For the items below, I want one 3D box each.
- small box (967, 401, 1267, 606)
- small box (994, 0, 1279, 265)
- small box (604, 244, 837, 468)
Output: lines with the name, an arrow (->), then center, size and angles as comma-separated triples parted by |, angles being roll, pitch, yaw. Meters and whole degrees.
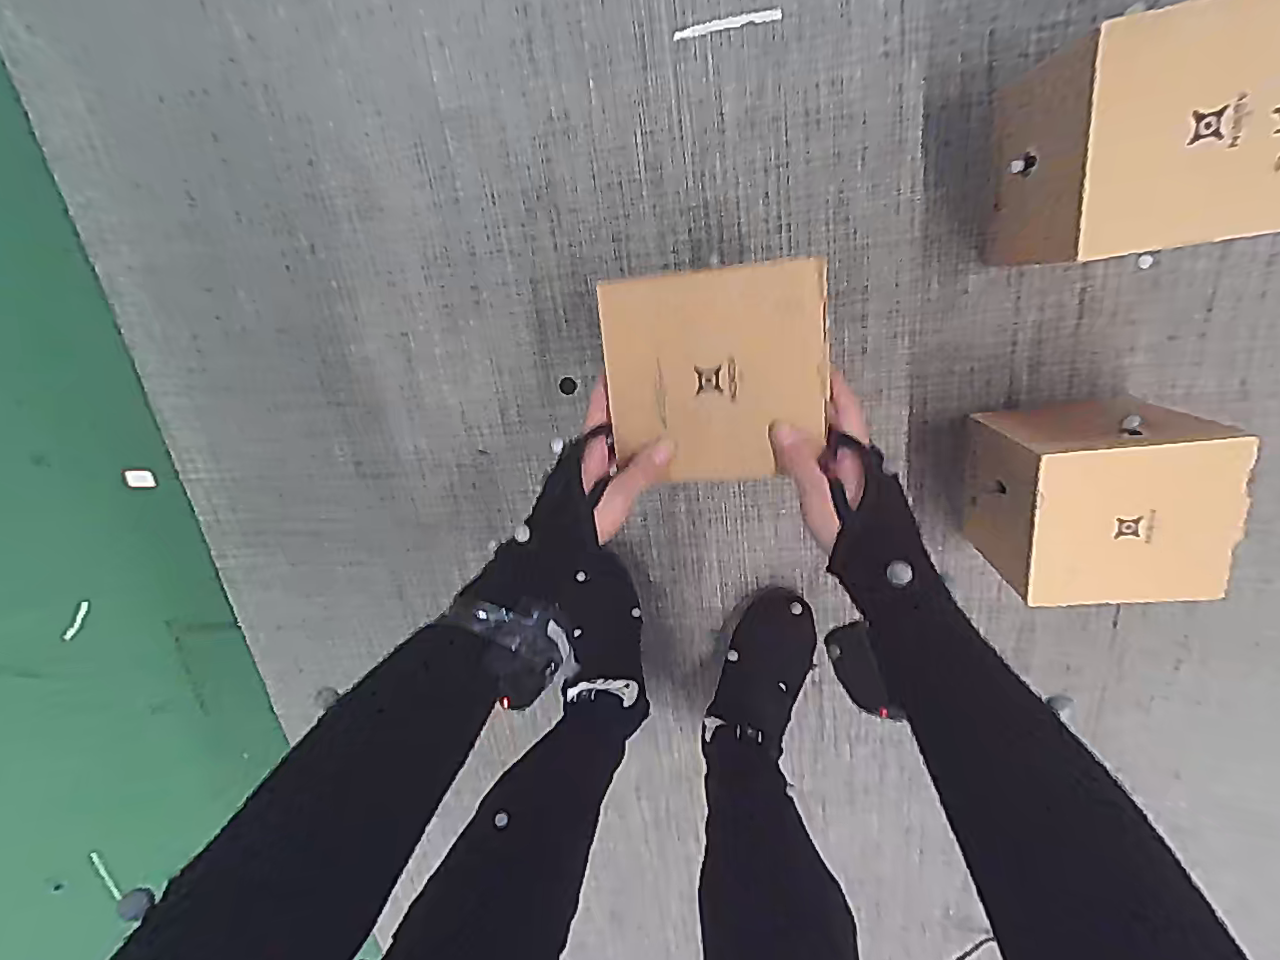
small box -> 0.476, 0.017, 0.577 | 0.179, 0.176, 0.168 | -5, 108, 10
small box -> 0.441, -0.289, 0.472 | 0.179, 0.176, 0.168 | -5, 109, 10
small box -> 0.075, -0.113, 0.500 | 0.179, 0.176, 0.168 | -2, 105, 10
